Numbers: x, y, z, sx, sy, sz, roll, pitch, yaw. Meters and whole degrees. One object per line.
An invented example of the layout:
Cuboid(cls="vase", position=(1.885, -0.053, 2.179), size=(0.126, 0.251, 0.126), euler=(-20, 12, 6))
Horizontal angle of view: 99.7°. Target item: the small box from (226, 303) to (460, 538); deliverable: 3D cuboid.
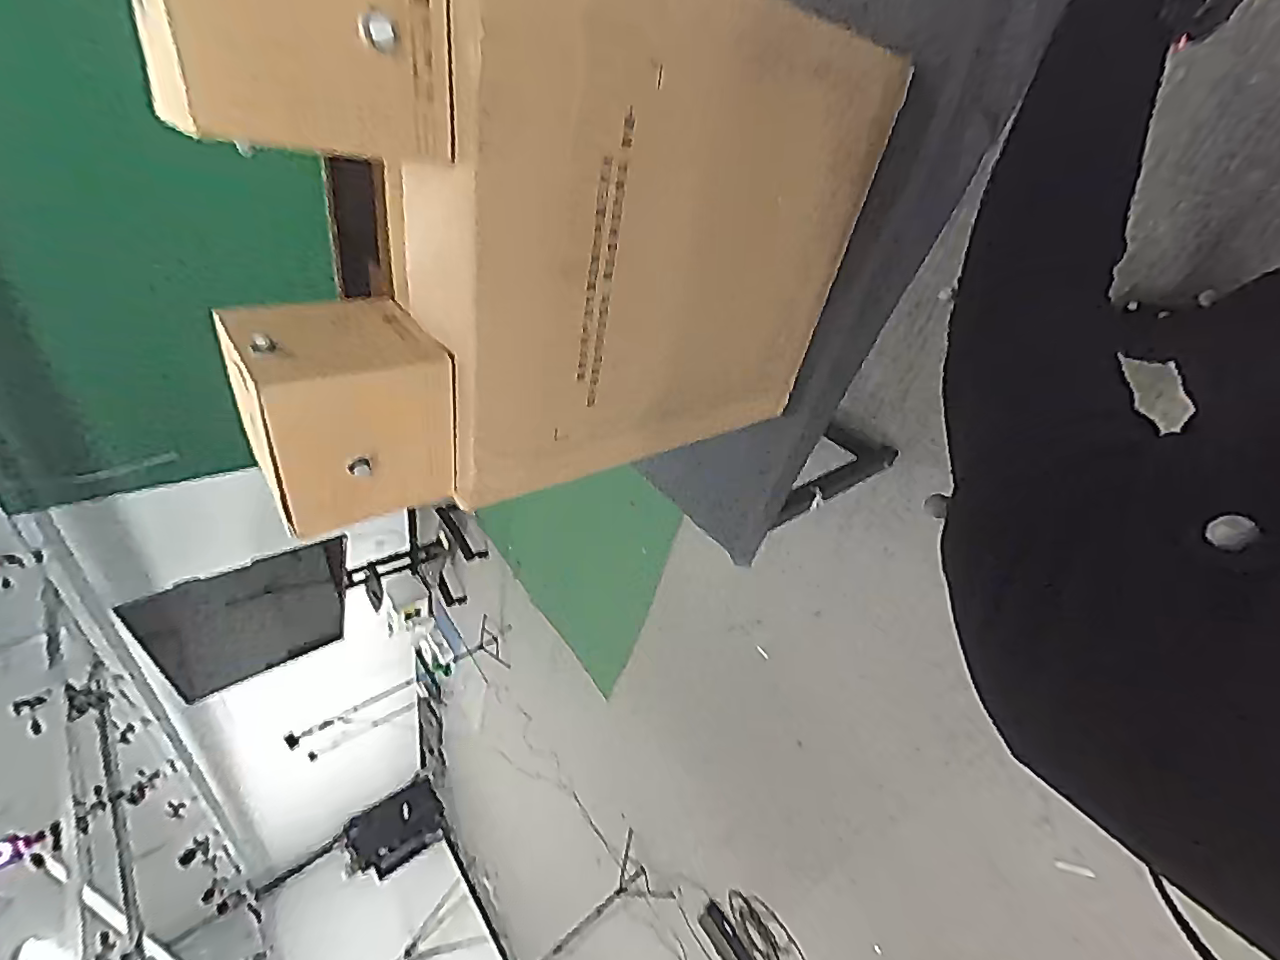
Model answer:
Cuboid(cls="small box", position=(-0.307, -0.074, 0.585), size=(0.168, 0.176, 0.179), euler=(39, 135, 33))

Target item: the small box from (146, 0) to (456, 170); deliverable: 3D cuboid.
Cuboid(cls="small box", position=(-0.253, -0.341, 0.405), size=(0.179, 0.176, 0.168), euler=(35, 129, 37))
